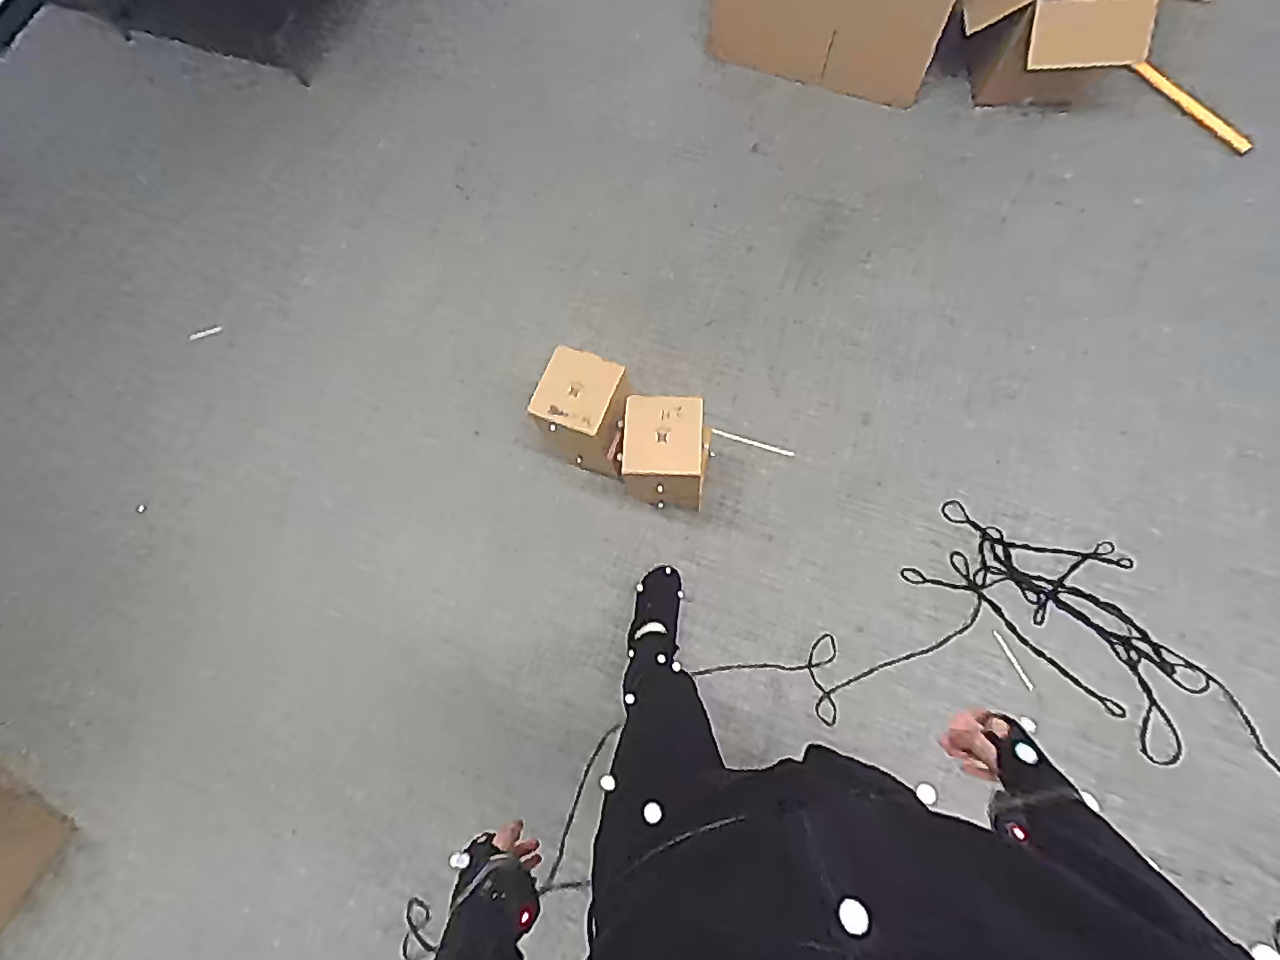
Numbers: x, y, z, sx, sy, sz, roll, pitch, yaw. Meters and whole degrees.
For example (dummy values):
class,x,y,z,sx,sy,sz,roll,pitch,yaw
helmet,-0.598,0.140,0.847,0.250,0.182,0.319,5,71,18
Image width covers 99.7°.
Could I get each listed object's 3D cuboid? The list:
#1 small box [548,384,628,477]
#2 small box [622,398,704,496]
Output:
class,x,y,z,sx,sy,sz,roll,pitch,yaw
small box,-0.110,-0.120,1.403,0.179,0.176,0.168,19,75,11
small box,0.057,-0.066,1.203,0.168,0.176,0.179,2,73,6
